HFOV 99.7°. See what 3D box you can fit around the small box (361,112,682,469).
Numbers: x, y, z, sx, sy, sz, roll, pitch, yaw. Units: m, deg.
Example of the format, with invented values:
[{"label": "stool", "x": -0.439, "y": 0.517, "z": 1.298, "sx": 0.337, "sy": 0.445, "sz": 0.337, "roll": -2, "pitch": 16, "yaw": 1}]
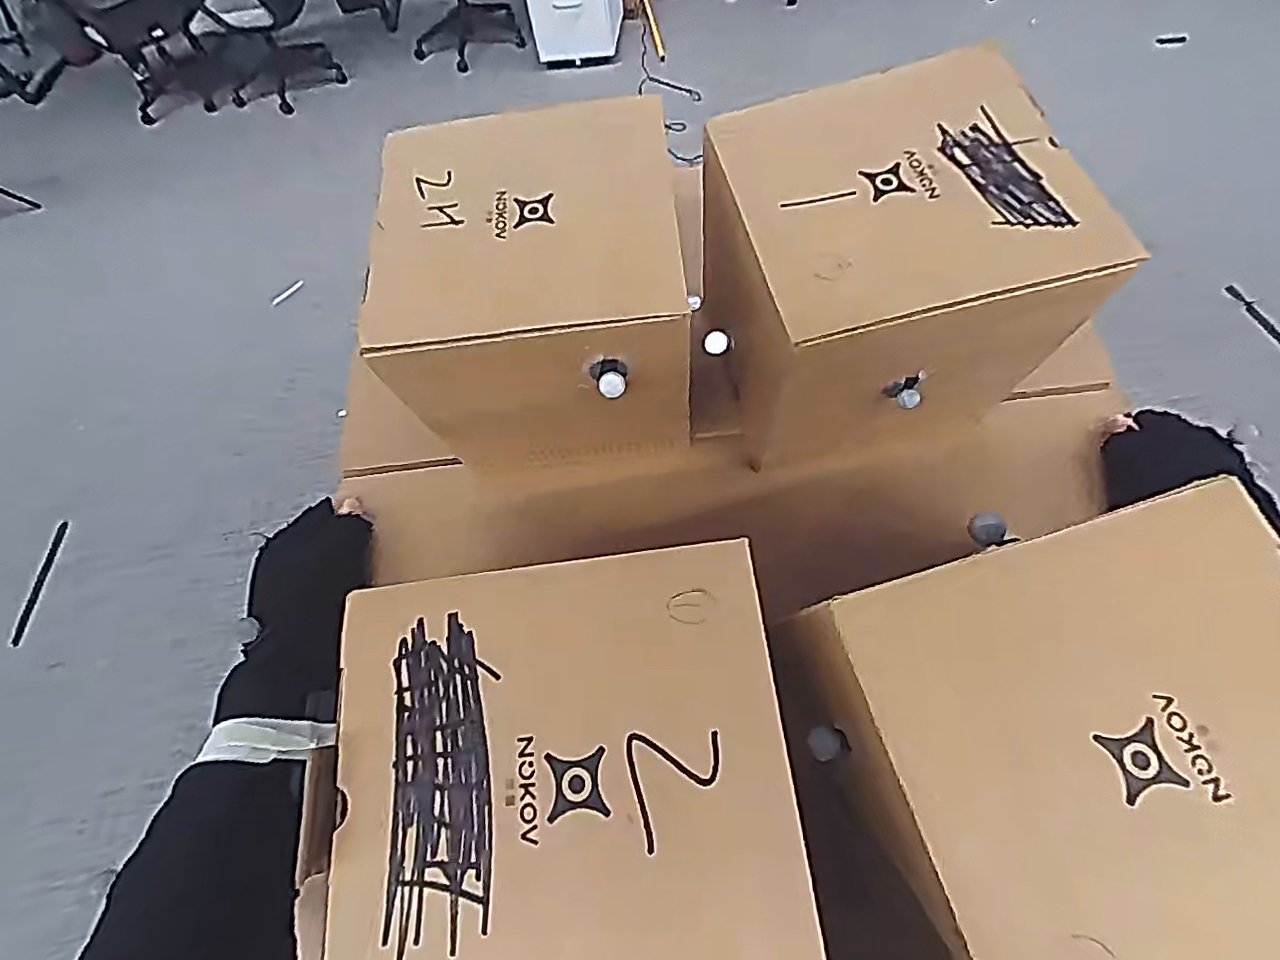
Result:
[{"label": "small box", "x": -0.062, "y": -0.118, "z": 0.389, "sx": 0.179, "sy": 0.176, "sz": 0.168, "roll": -6, "pitch": 68, "yaw": 4}]
